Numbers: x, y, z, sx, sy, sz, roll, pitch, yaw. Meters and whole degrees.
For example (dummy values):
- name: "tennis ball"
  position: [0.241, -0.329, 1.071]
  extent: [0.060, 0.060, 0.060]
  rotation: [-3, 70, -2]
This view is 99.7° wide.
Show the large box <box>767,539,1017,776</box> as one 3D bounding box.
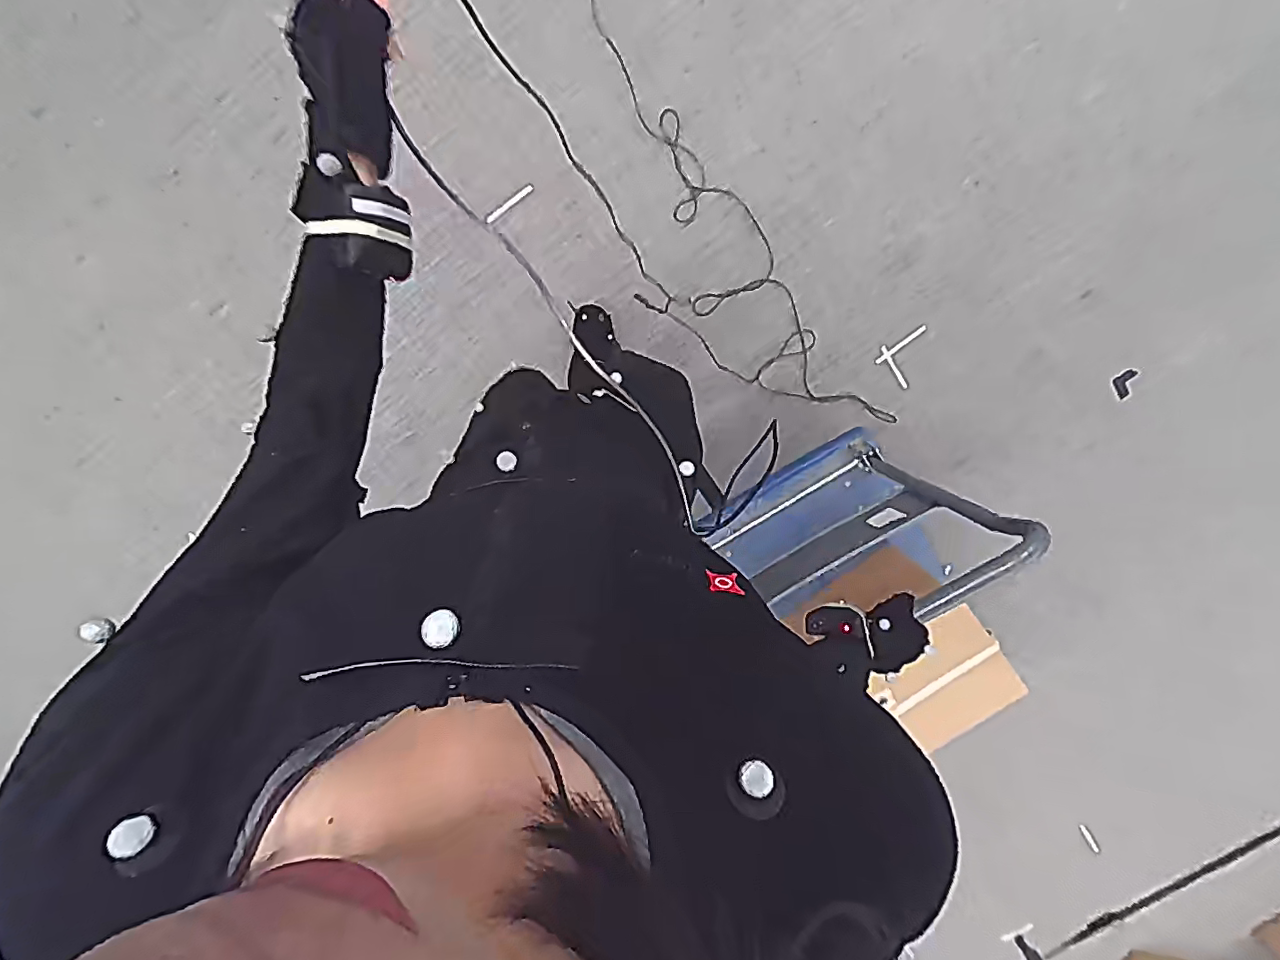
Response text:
- name: "large box"
  position: [0.595, 0.422, 1.344]
  extent: [0.408, 0.320, 0.320]
  rotation: [-39, 103, 9]
